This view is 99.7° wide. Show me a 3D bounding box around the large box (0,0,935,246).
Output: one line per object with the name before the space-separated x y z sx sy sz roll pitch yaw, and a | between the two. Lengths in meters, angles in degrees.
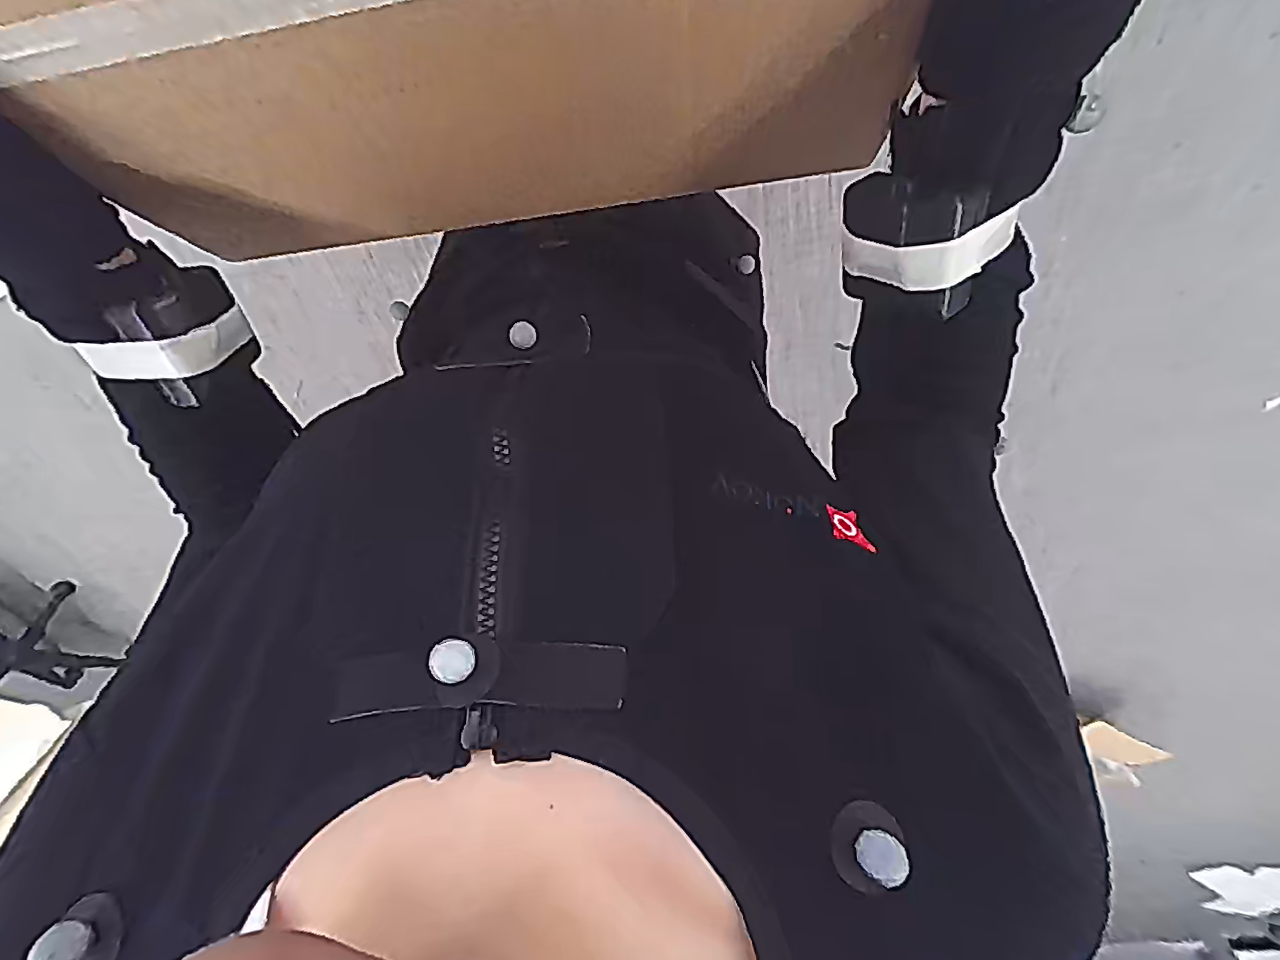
large box | -0.097 -0.330 0.192 0.408 0.320 0.320 -5 87 6
